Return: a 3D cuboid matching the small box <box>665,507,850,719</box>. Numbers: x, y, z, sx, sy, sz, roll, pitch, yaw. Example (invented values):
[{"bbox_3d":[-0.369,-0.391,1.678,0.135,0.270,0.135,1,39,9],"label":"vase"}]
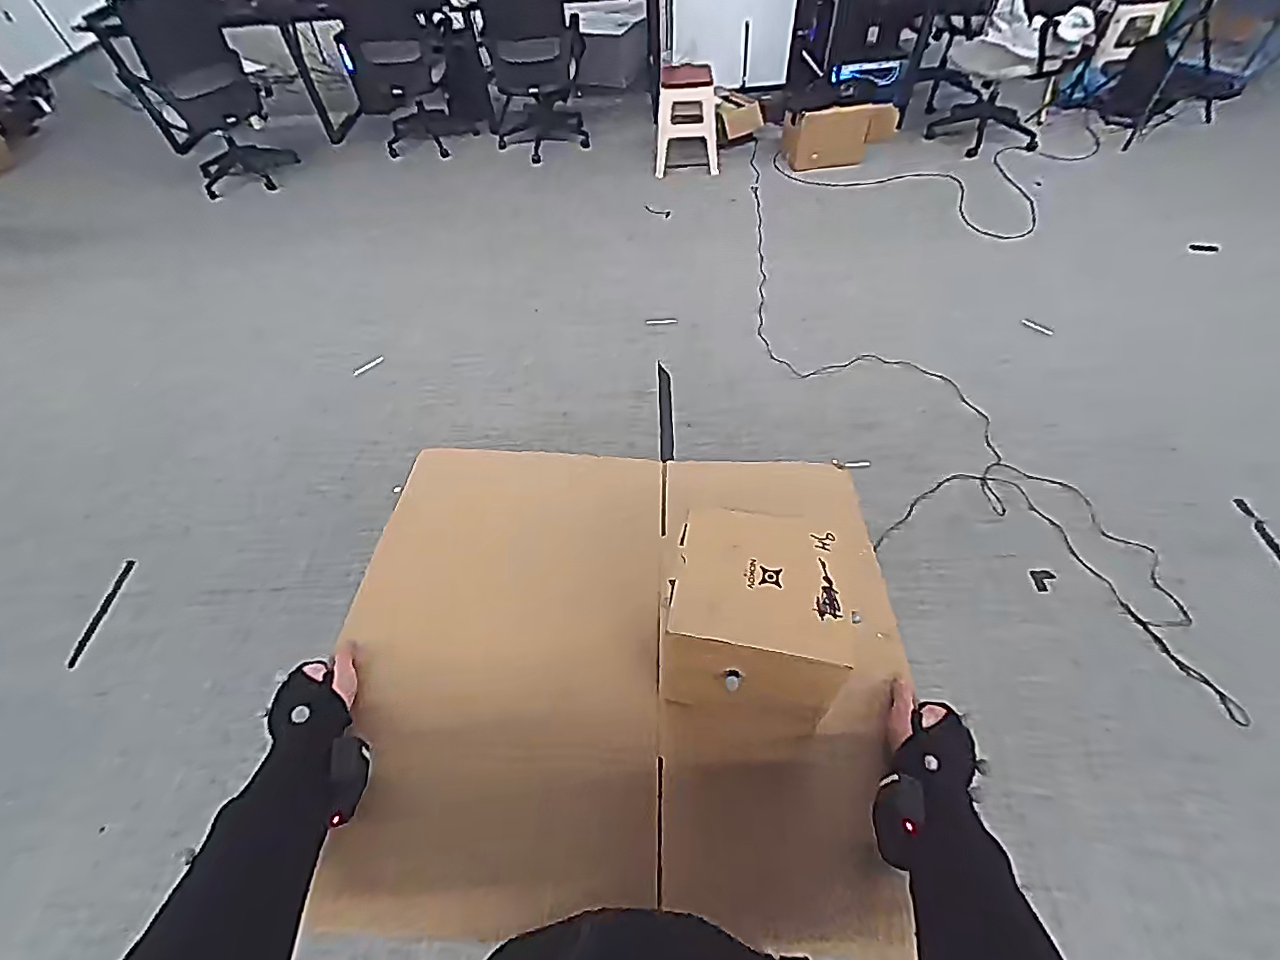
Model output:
[{"bbox_3d":[0.130,0.153,0.620,0.179,0.176,0.168,7,49,10],"label":"small box"}]
